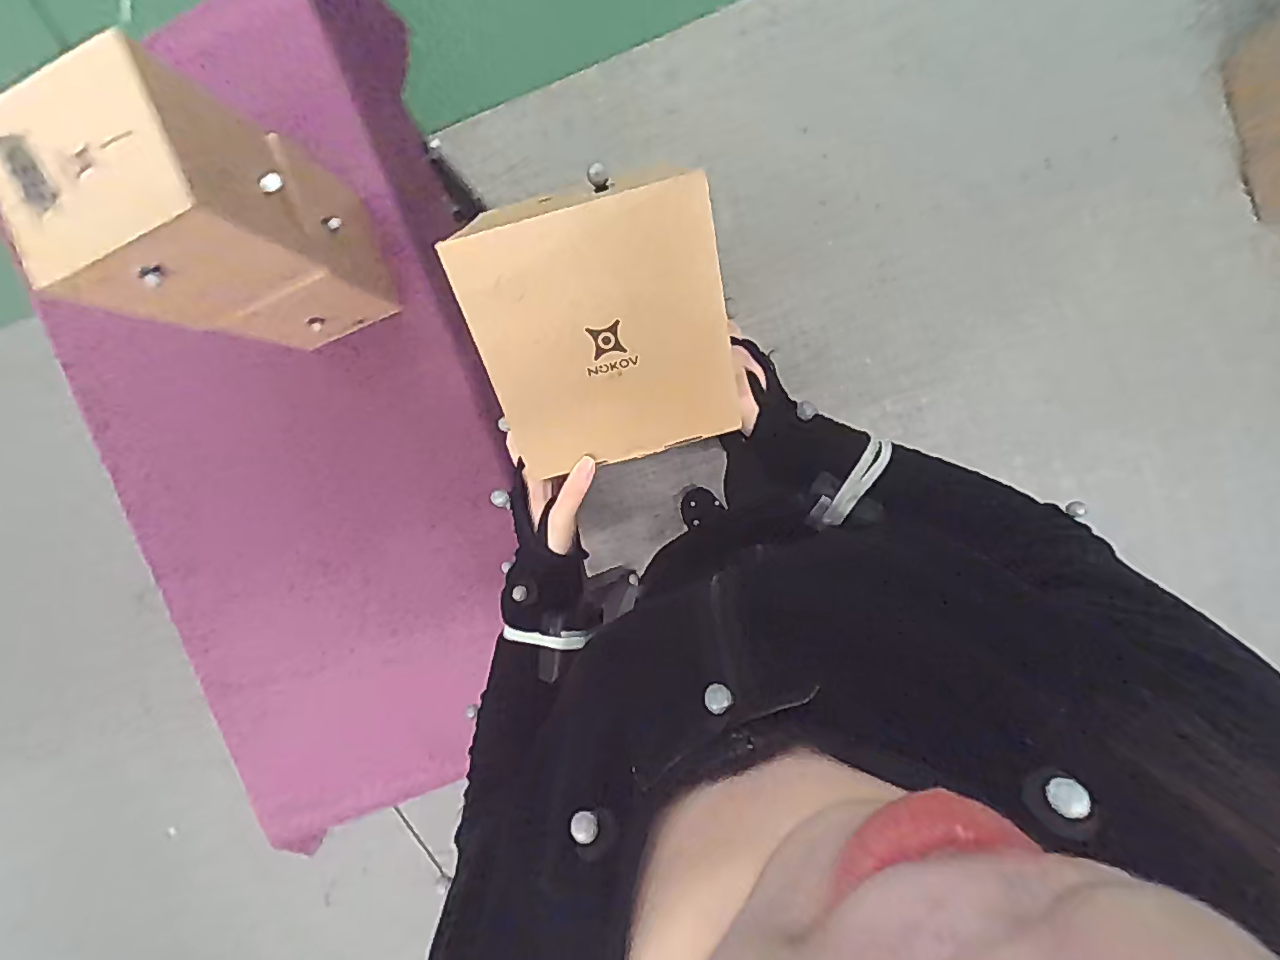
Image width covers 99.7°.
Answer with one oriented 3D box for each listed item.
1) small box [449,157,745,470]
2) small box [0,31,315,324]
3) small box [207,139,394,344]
[{"bbox_3d":[-0.027,-0.138,0.425,0.168,0.176,0.179,-14,124,2],"label":"small box"},{"bbox_3d":[-0.485,-0.281,0.552,0.179,0.176,0.168,-24,91,7],"label":"small box"},{"bbox_3d":[-0.461,-0.293,0.715,0.168,0.176,0.179,-21,91,7],"label":"small box"}]
